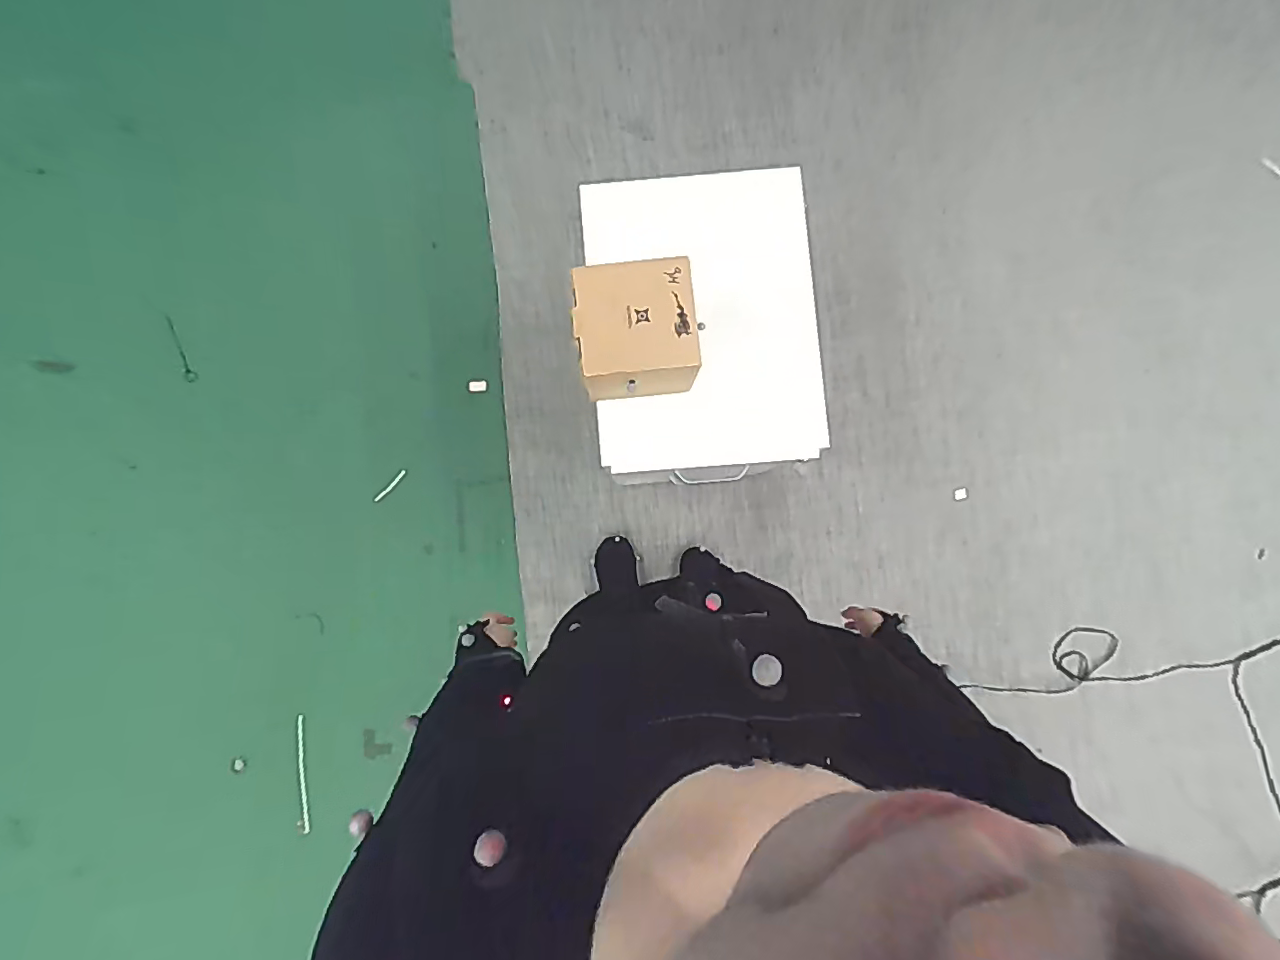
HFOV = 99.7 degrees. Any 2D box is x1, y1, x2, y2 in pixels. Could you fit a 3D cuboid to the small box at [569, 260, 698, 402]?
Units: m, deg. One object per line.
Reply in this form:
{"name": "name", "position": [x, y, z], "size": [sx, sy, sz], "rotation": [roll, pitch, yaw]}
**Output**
{"name": "small box", "position": [-0.009, -0.226, 0.862], "size": [0.179, 0.176, 0.168], "rotation": [-6, 86, -1]}
